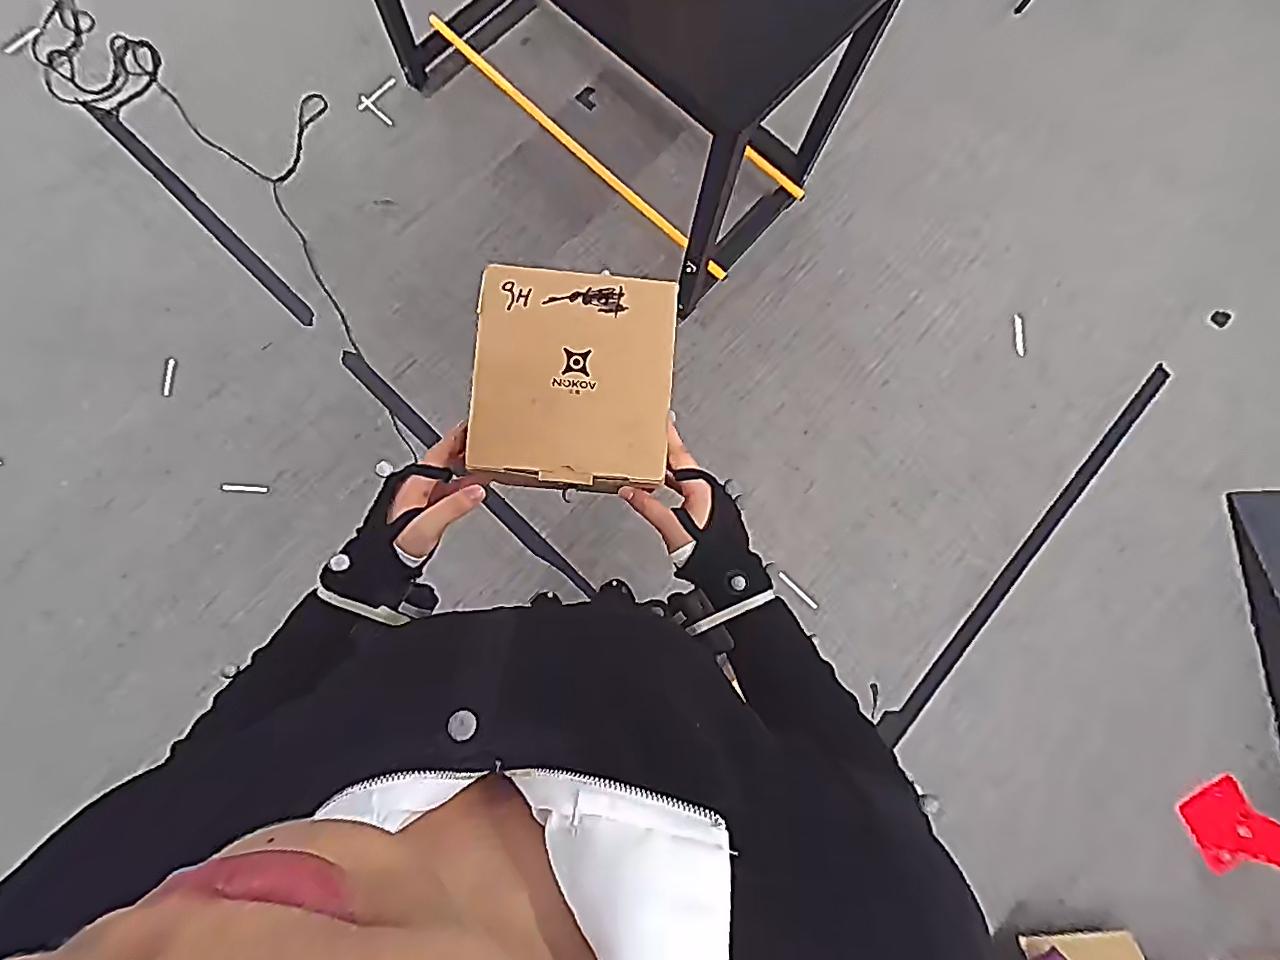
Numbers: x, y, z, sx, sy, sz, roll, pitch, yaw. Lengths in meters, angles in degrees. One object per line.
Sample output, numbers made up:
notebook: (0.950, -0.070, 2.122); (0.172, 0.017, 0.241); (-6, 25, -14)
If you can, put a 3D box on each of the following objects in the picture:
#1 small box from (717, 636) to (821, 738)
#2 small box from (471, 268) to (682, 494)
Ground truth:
small box: (0.326, 0.523, 1.401); (0.179, 0.176, 0.168); (41, 79, 5)
small box: (-0.055, -0.080, 0.529); (0.168, 0.176, 0.179); (4, 85, -4)
